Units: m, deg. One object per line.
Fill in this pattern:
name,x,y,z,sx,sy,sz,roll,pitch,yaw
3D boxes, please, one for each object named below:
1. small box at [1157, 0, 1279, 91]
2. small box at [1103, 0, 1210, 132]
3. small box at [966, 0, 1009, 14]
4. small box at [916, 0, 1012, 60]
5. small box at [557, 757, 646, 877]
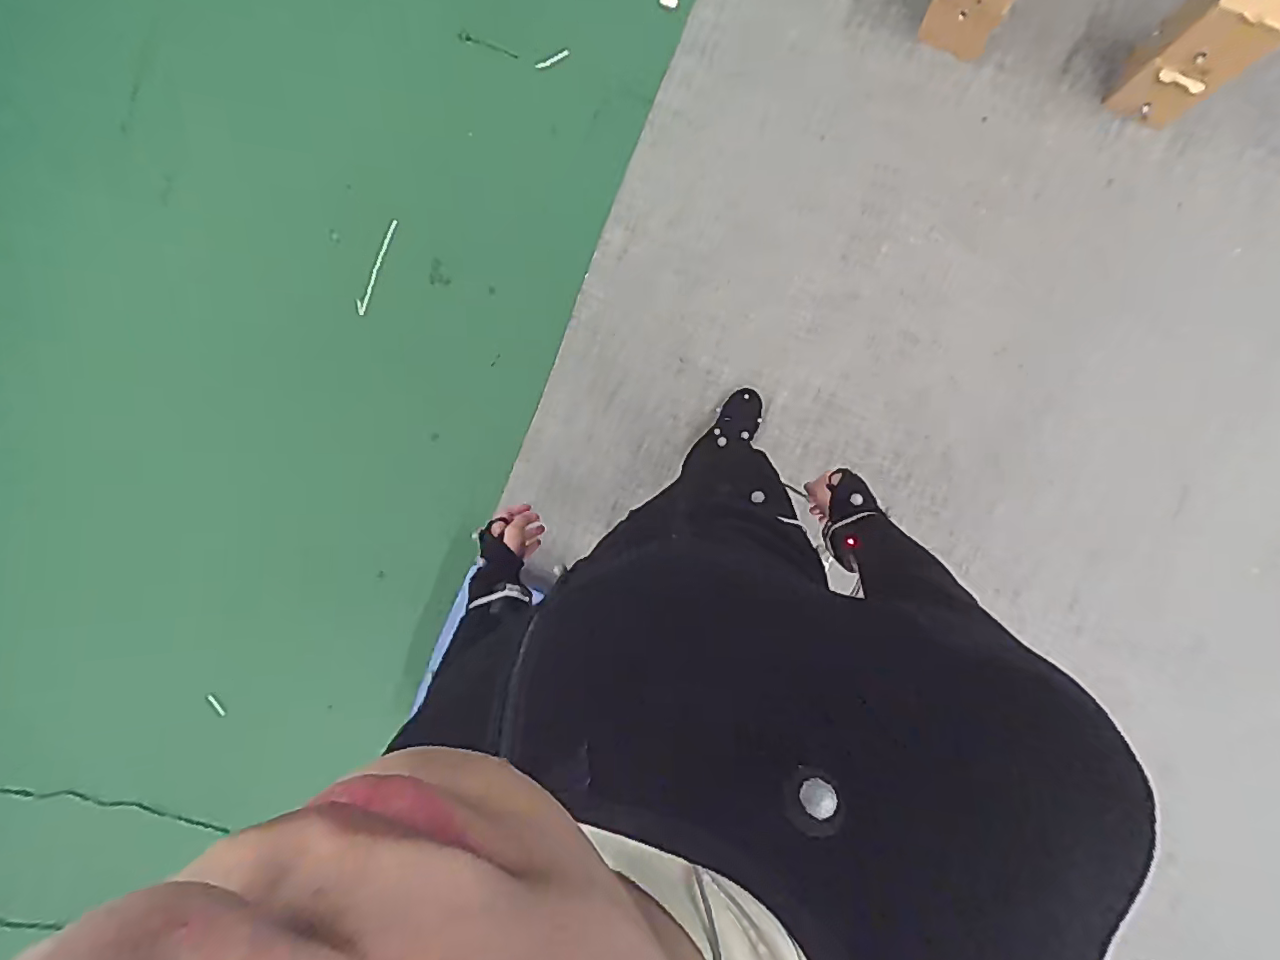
small box,1.291,-1.000,1.163,0.168,0.176,0.179,30,97,5
small box,1.304,-1.010,1.323,0.168,0.176,0.179,36,98,7
small box,0.816,-1.216,1.216,0.168,0.176,0.179,28,98,5
small box,0.845,-1.227,1.376,0.179,0.176,0.168,29,97,5
small box,-0.094,0.885,1.439,0.168,0.176,0.179,27,97,6
